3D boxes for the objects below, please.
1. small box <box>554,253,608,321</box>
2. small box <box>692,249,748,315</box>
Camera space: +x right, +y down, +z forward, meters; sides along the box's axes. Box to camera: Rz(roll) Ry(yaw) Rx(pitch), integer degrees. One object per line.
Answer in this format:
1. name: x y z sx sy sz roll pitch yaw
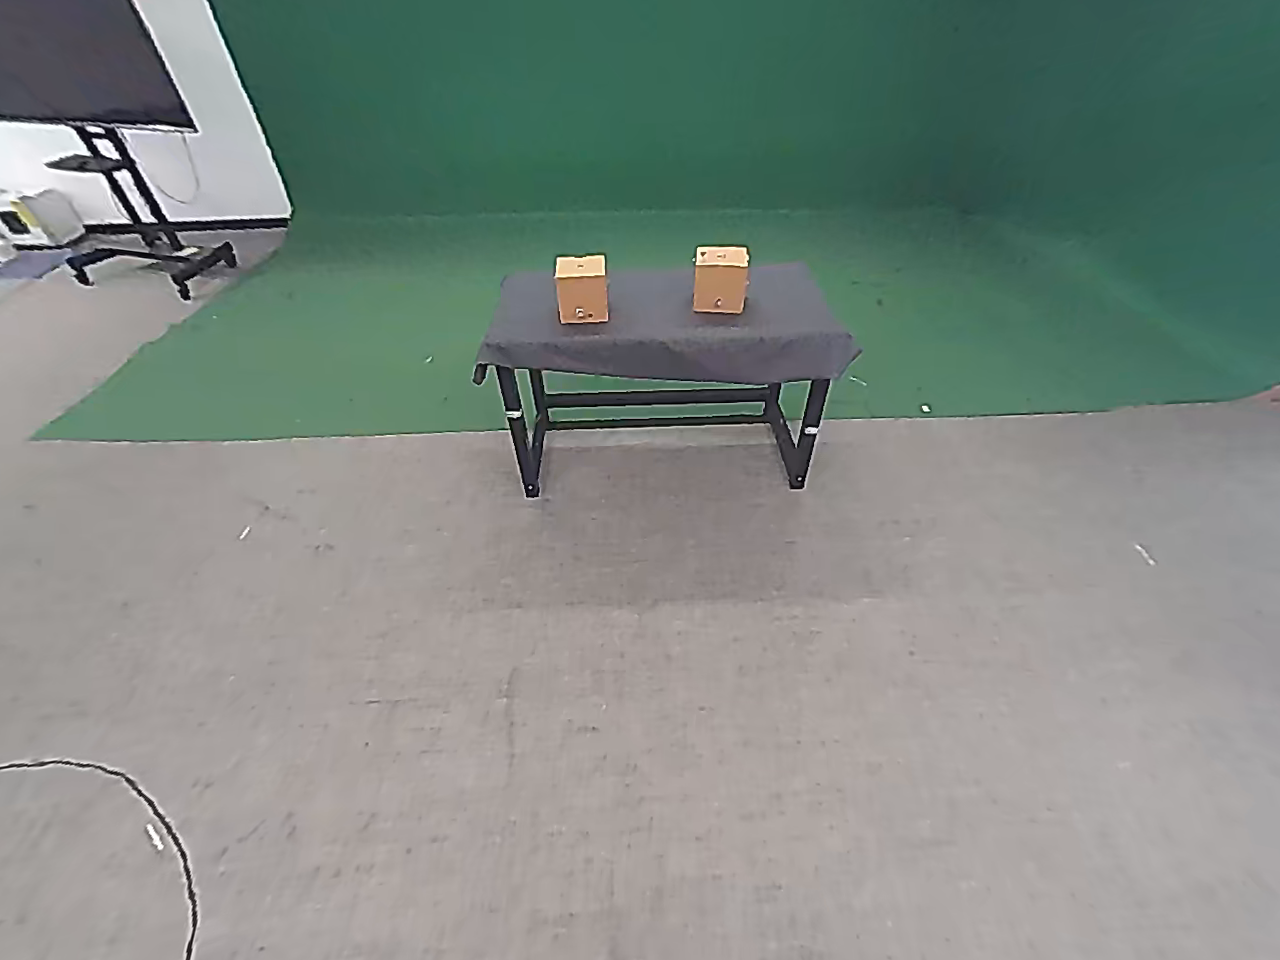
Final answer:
1. small box: -0.199 -0.664 1.861 0.168 0.176 0.179 -4 43 0
2. small box: 0.281 -0.697 1.910 0.179 0.176 0.168 4 43 5
